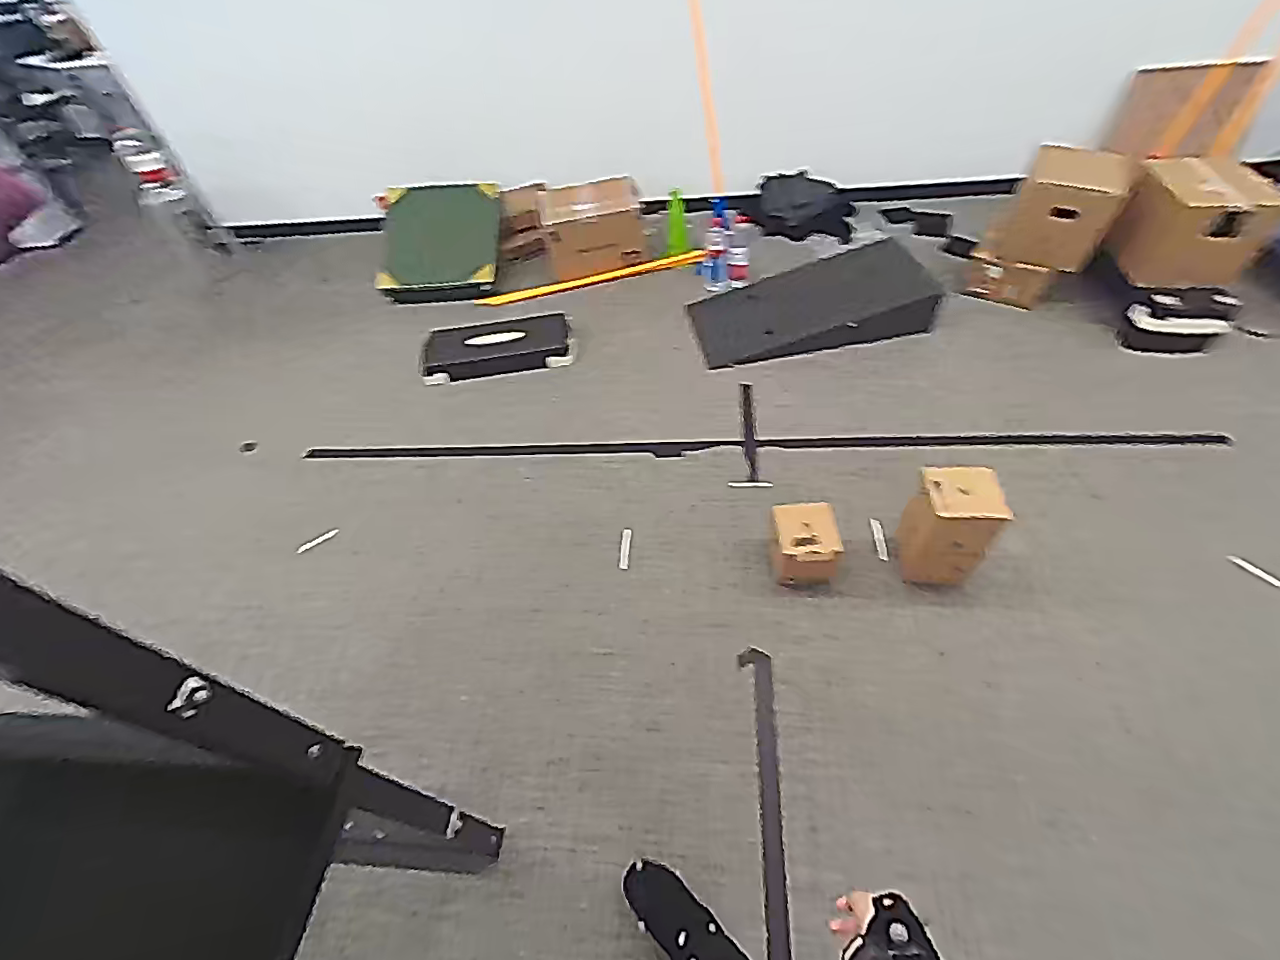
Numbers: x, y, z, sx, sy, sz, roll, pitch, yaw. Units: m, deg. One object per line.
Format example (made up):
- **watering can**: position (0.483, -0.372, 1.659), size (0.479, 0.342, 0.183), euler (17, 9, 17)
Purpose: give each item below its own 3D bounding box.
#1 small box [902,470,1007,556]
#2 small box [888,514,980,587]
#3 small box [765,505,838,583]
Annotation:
- **small box**: position (0.832, 0.090, 1.449), size (0.179, 0.176, 0.168), euler (2, 49, 6)
- **small box**: position (0.846, 0.198, 1.572), size (0.179, 0.176, 0.168), euler (2, 50, 8)
- **small box**: position (0.472, 0.196, 1.608), size (0.168, 0.176, 0.179), euler (-4, 49, 2)
